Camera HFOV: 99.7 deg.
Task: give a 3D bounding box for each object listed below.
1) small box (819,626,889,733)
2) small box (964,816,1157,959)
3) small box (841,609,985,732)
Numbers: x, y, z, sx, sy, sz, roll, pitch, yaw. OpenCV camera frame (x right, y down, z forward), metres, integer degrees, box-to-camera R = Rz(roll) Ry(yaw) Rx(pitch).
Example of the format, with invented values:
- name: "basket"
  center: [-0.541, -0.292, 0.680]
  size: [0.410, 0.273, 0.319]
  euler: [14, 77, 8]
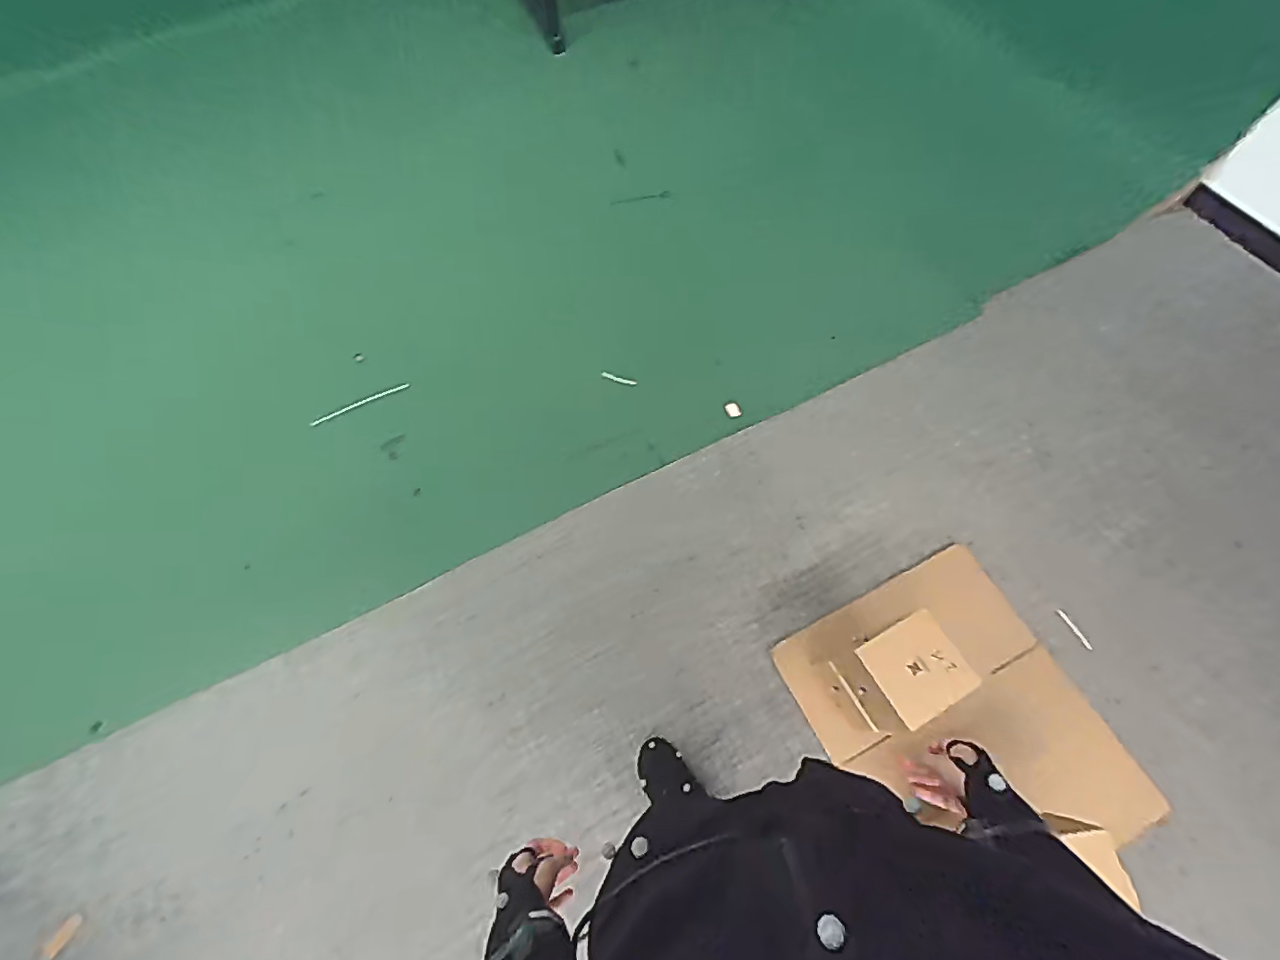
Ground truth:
- name: "small box"
  center: [0.533, 0.459, 1.238]
  size: [0.179, 0.176, 0.168]
  euler: [-27, 68, -10]
- name: "small box"
  center: [0.711, 0.700, 0.939]
  size: [0.179, 0.176, 0.168]
  euler: [-6, 67, -1]
- name: "small box"
  center: [0.531, 0.387, 1.089]
  size: [0.179, 0.176, 0.168]
  euler: [-27, 68, -10]
